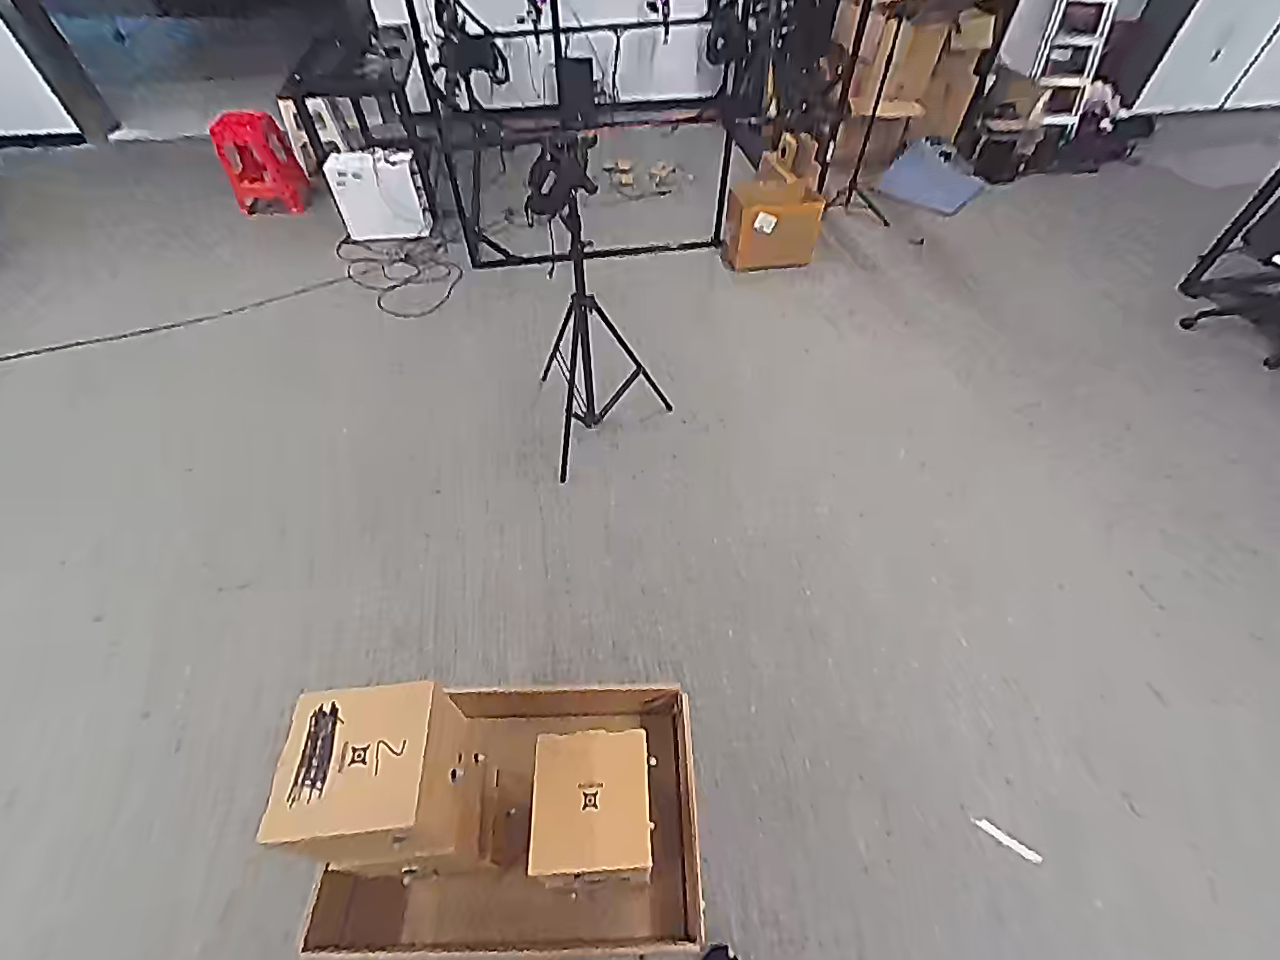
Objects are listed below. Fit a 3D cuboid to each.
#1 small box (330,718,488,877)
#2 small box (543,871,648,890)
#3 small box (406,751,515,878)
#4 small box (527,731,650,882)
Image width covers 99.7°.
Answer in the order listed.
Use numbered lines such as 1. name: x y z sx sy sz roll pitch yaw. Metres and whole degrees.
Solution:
1. small box: -0.337 0.489 0.832 0.168 0.176 0.179 -6 50 -3
2. small box: -0.072 0.607 0.950 0.168 0.176 0.179 -3 50 -2
3. small box: -0.328 0.595 0.958 0.179 0.176 0.168 -3 51 -3
4. small box: -0.071 0.502 0.827 0.168 0.176 0.179 -2 49 -2
